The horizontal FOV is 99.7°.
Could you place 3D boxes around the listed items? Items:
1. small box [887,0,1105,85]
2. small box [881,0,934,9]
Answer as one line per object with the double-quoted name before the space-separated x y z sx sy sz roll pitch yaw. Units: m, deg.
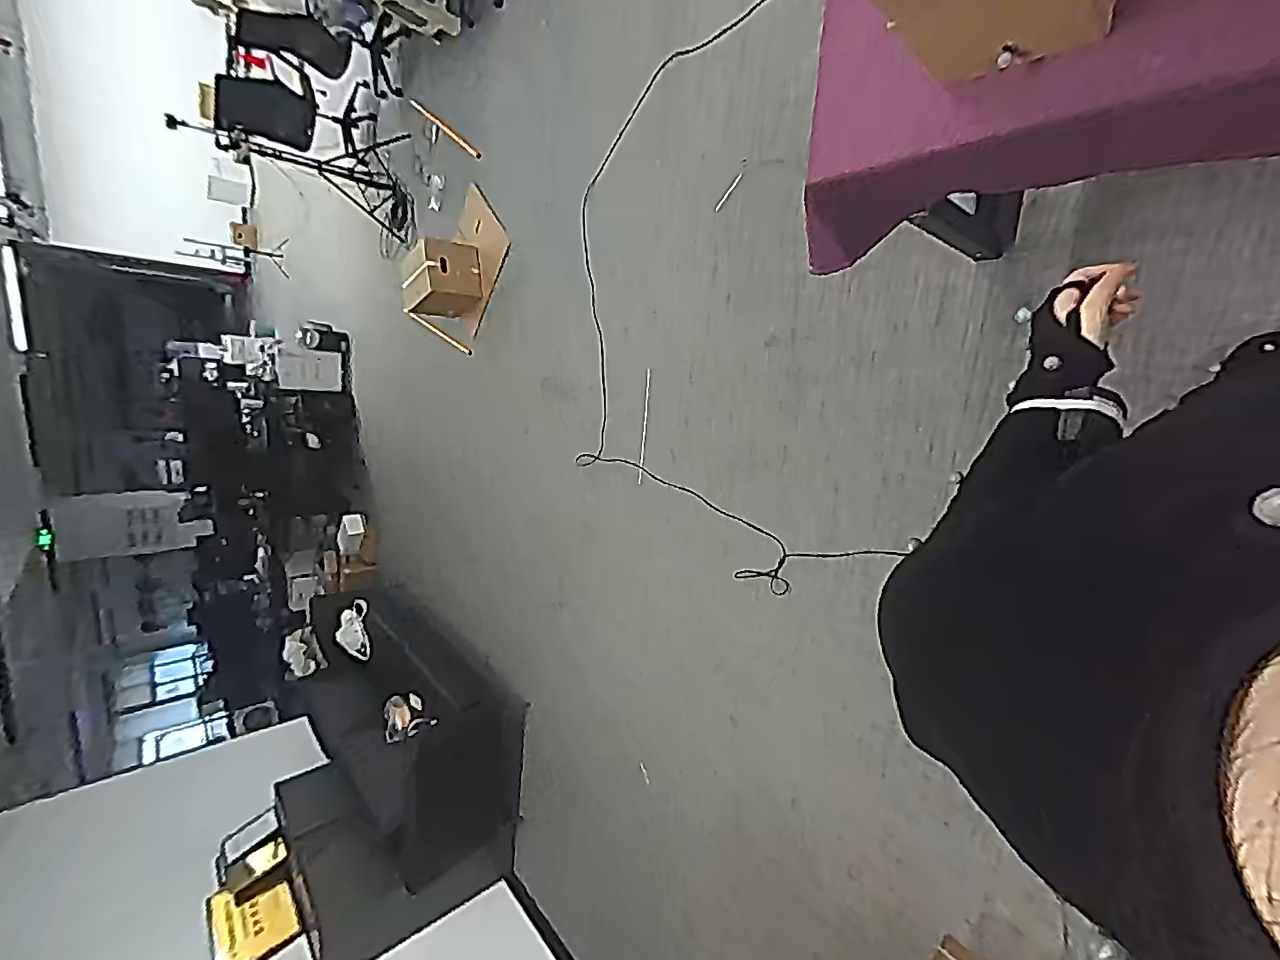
"small box" 0.406 -0.580 0.594 0.179 0.176 0.168 17 106 46
"small box" 0.286 -0.574 0.483 0.168 0.176 0.179 19 107 45
